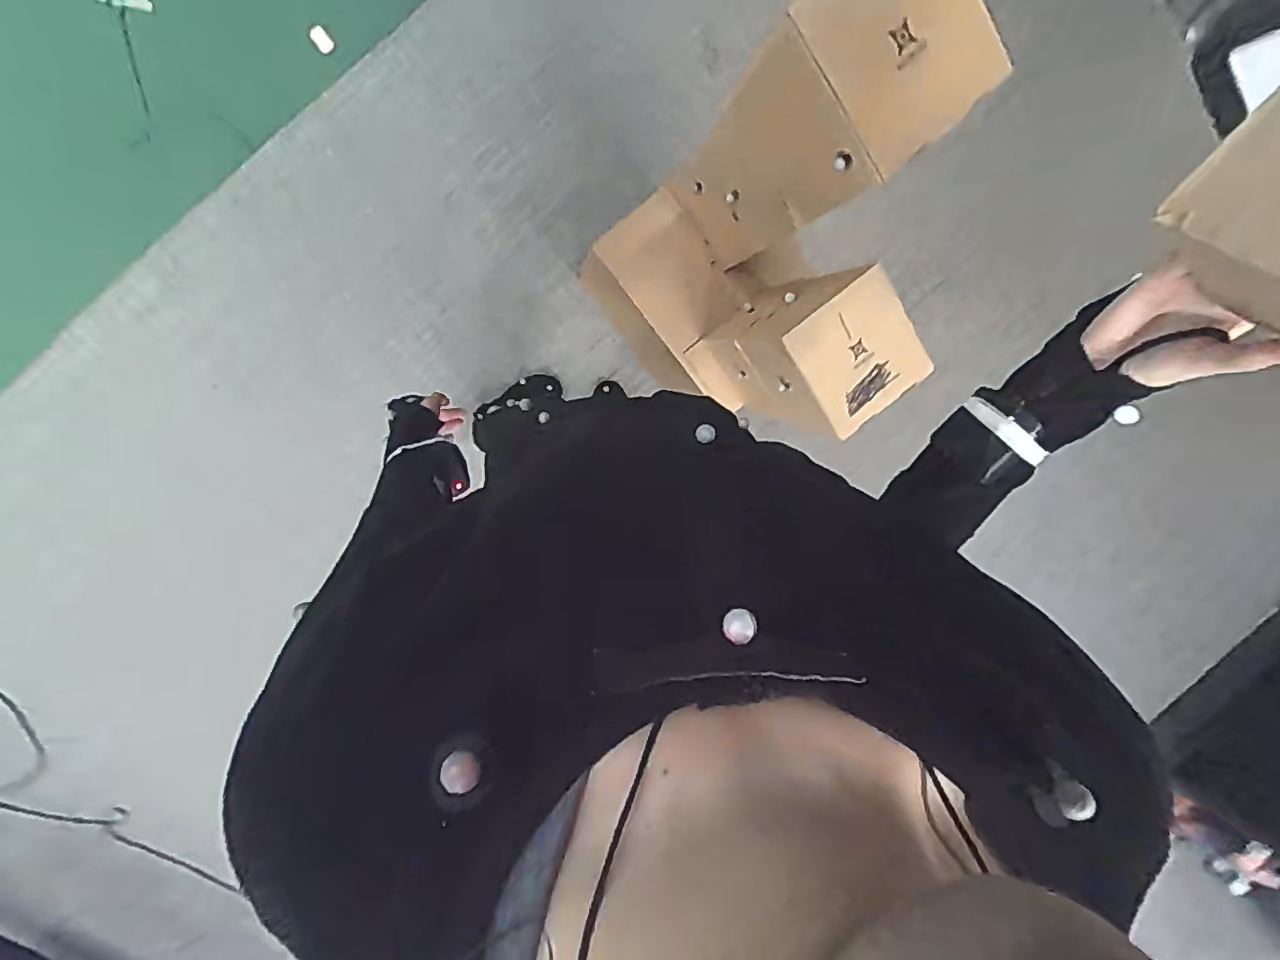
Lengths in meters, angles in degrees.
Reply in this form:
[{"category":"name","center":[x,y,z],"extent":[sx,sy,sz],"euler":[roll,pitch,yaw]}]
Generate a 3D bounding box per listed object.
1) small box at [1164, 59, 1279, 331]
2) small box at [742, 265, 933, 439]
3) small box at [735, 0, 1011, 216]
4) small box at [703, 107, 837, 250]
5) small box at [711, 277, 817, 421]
[{"category":"small box","center":[0.368,-0.117,0.204],"extent":[0.176,0.179,0.168],"euler":[7,133,-33]},{"category":"small box","center":[0.282,-0.187,0.802],"extent":[0.168,0.176,0.179],"euler":[-37,106,0]},{"category":"small box","center":[0.228,-0.419,0.573],"extent":[0.168,0.176,0.179],"euler":[-40,106,1]},{"category":"small box","center":[0.213,-0.444,0.734],"extent":[0.179,0.176,0.168],"euler":[-35,105,-1]},{"category":"small box","center":[0.250,-0.227,0.958],"extent":[0.168,0.176,0.179],"euler":[-37,106,2]}]
